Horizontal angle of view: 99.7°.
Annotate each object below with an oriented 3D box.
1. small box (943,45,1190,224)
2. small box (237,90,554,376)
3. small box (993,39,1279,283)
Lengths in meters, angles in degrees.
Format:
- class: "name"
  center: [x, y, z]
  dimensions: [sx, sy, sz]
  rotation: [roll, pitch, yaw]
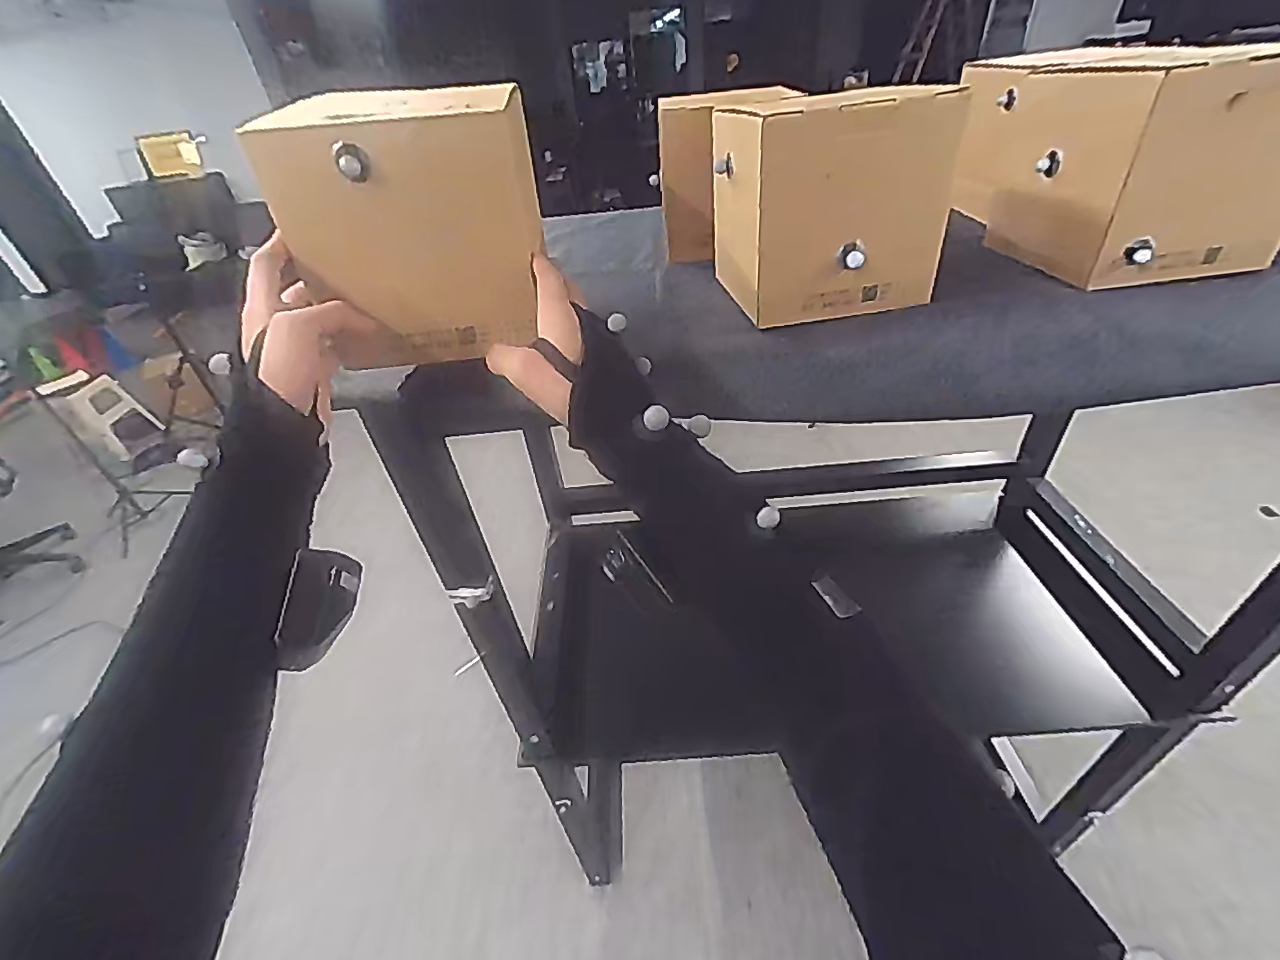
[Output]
- class: "small box"
  center: [0.517, -0.434, 0.685]
  dimensions: [0.168, 0.176, 0.179]
  rotation: [-5, 39, 3]
- class: "small box"
  center: [-0.166, -0.203, 0.441]
  dimensions: [0.168, 0.176, 0.179]
  rotation: [-7, 41, -3]
- class: "small box"
  center: [0.477, -0.293, 0.508]
  dimensions: [0.168, 0.176, 0.179]
  rotation: [-7, 36, 1]
